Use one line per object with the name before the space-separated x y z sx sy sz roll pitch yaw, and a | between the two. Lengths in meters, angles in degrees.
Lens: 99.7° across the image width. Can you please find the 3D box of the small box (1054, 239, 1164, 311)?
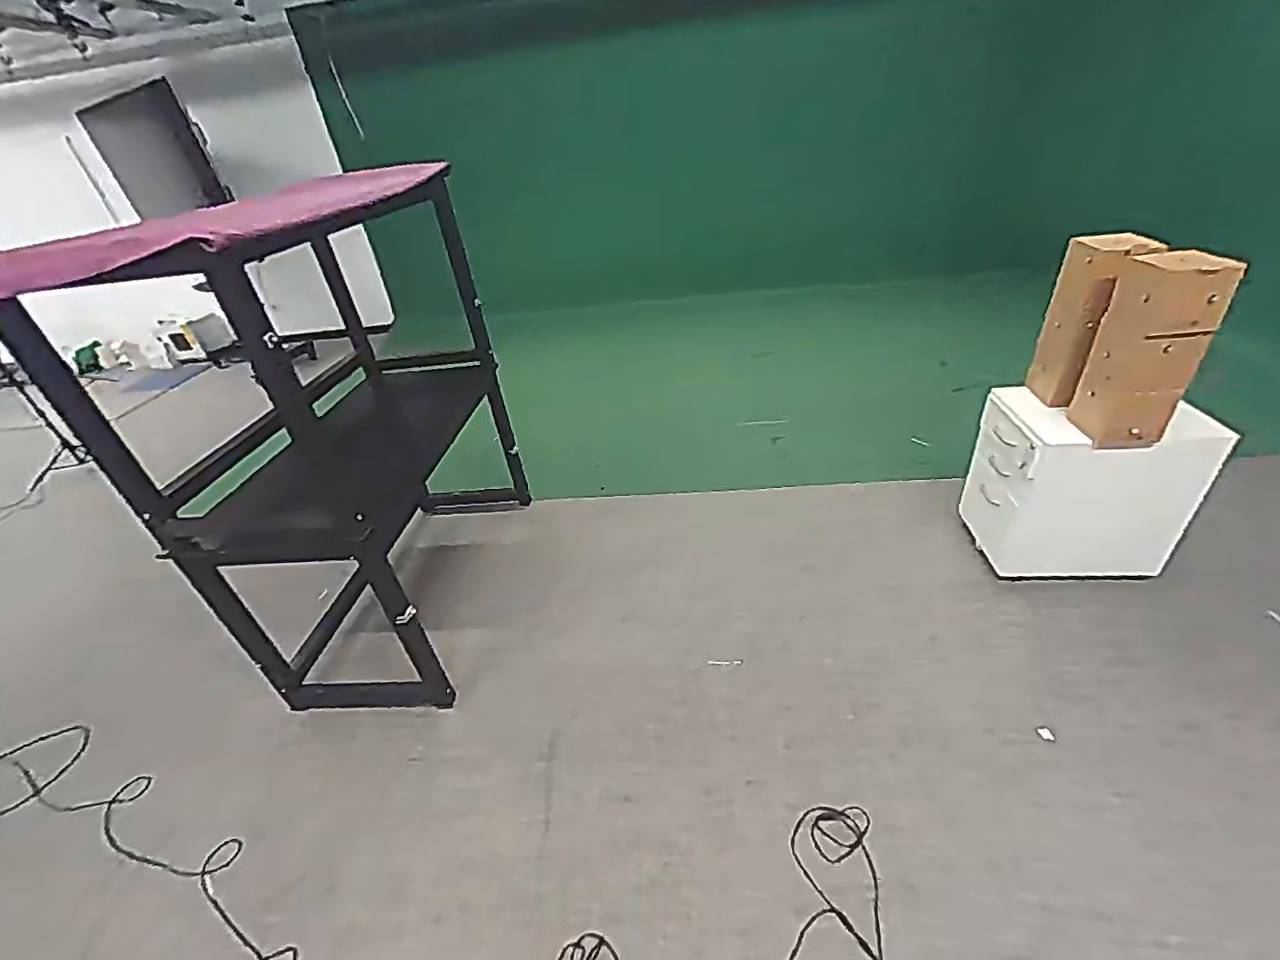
small box | 1.403 -0.620 1.635 0.168 0.176 0.179 -1 36 8

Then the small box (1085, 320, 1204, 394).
small box | 1.411 -0.353 1.530 0.179 0.176 0.168 -3 34 6

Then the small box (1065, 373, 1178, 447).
small box | 1.425 -0.212 1.616 0.168 0.176 0.179 -2 34 8

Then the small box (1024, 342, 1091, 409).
small box | 1.436 -0.352 1.820 0.168 0.176 0.179 -2 35 9

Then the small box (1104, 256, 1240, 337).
small box | 1.395 -0.483 1.434 0.168 0.176 0.179 -2 32 8
